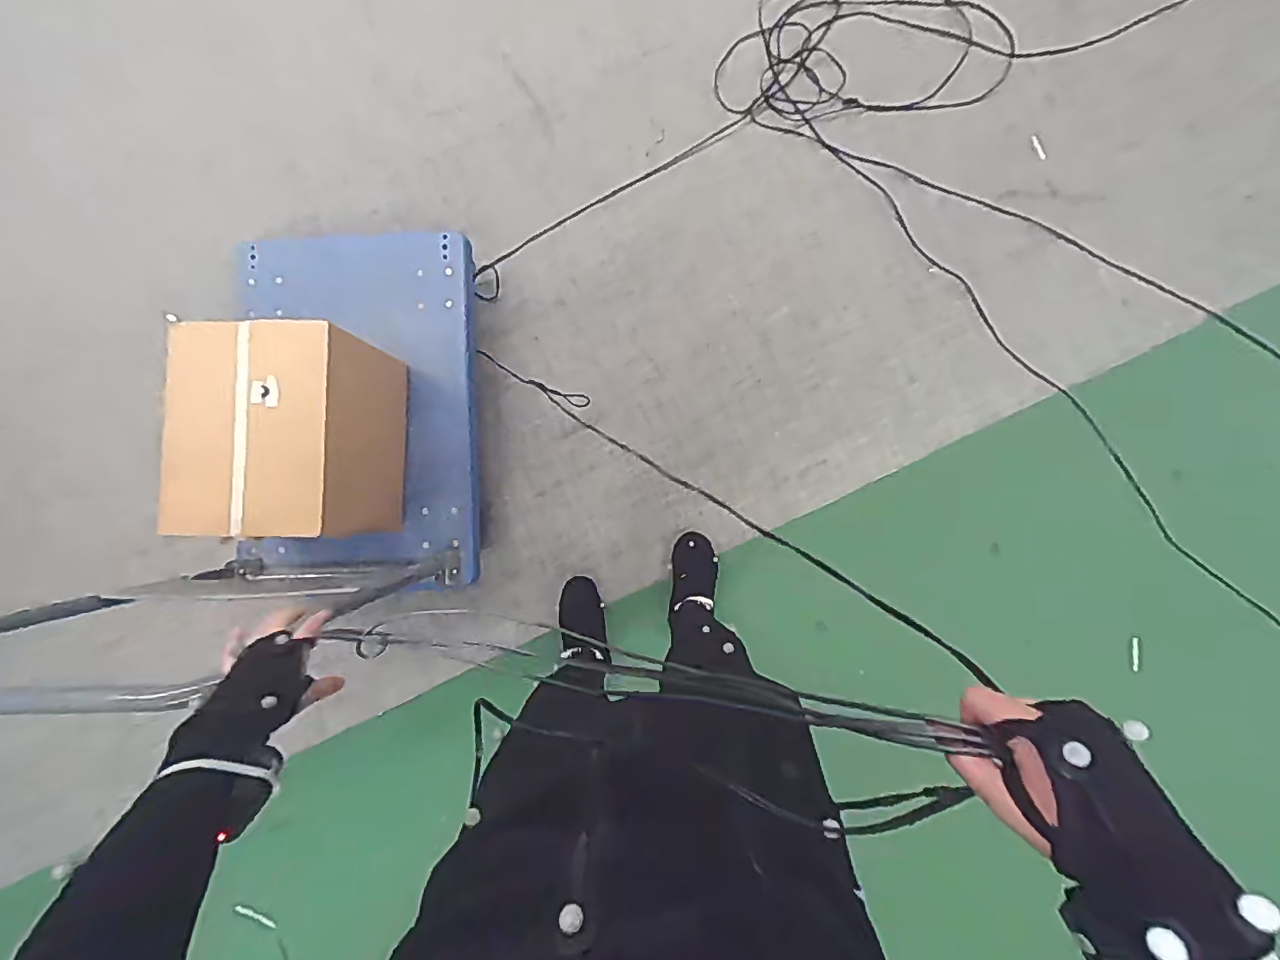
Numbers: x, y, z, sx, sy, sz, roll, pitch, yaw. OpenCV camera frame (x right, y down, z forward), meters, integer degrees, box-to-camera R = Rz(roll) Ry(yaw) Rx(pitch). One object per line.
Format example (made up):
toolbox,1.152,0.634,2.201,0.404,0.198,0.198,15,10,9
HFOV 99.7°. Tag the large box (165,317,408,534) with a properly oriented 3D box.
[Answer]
large box,-0.708,-0.091,1.138,0.320,0.320,0.408,1,87,2
